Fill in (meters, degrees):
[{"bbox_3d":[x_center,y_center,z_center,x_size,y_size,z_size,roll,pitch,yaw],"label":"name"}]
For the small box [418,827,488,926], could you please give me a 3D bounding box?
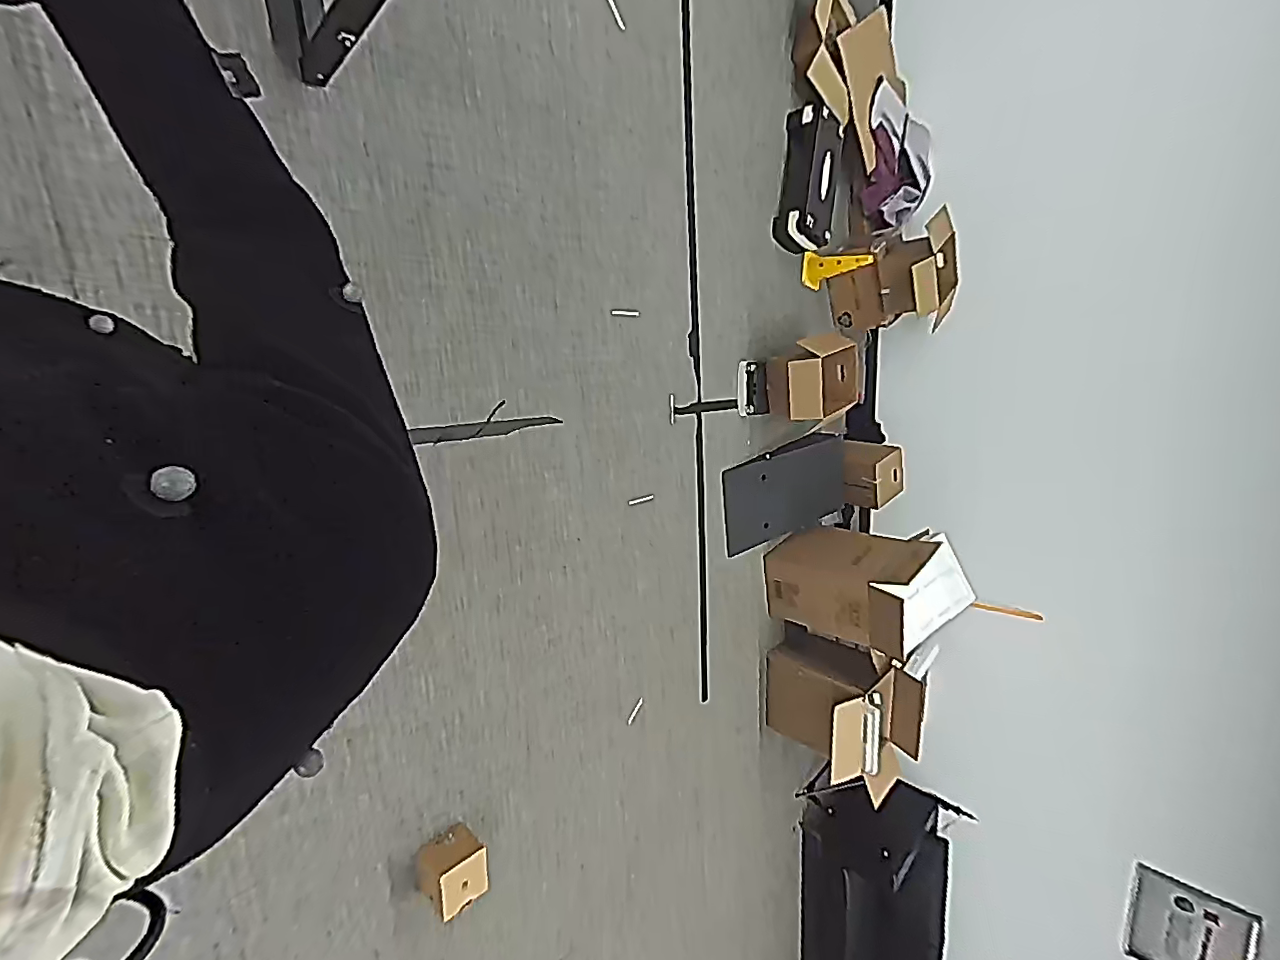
[{"bbox_3d":[-0.636,1.333,1.833,0.168,0.176,0.179,-11,104,-46],"label":"small box"}]
